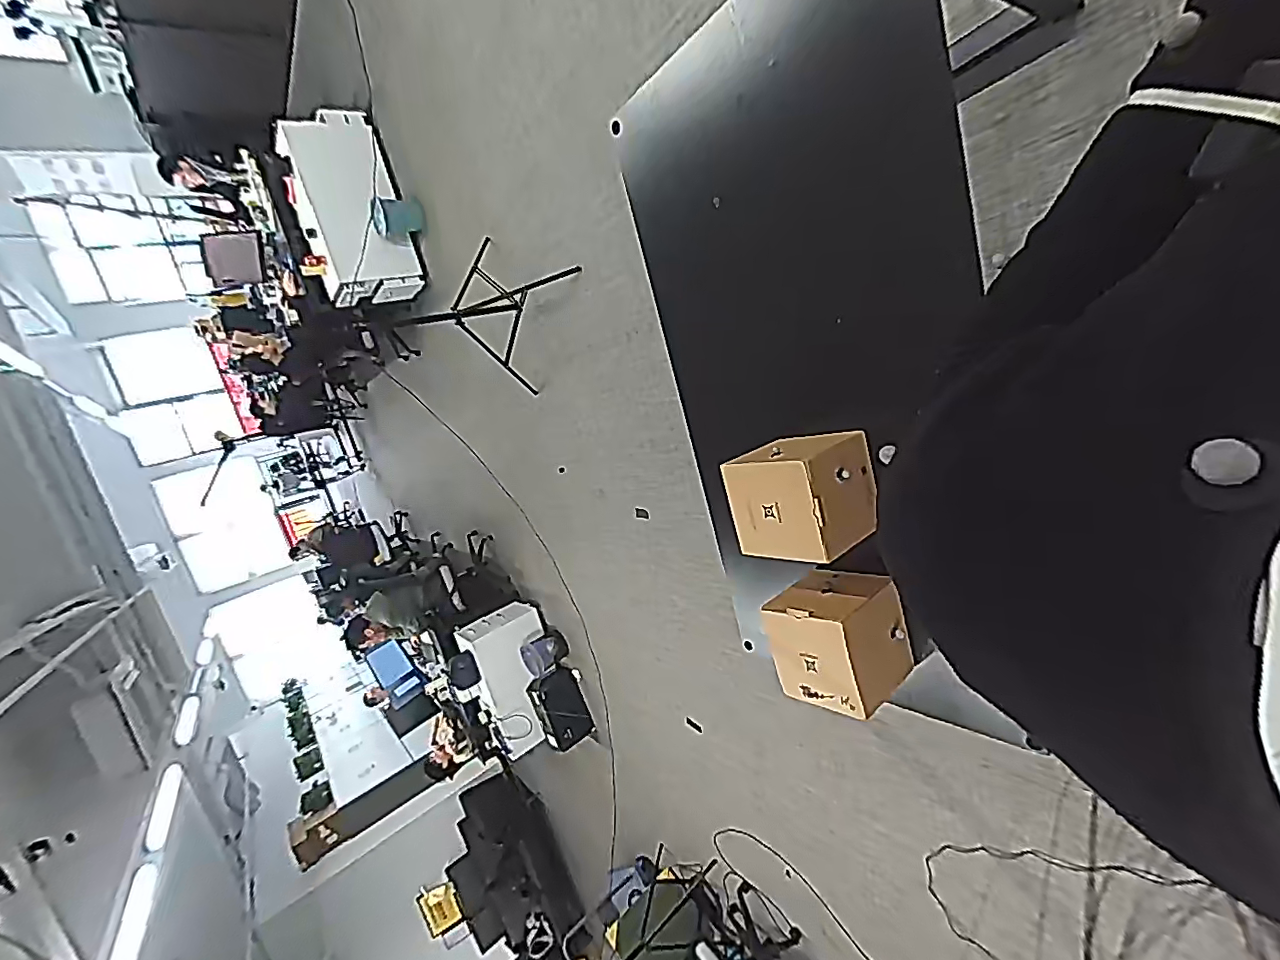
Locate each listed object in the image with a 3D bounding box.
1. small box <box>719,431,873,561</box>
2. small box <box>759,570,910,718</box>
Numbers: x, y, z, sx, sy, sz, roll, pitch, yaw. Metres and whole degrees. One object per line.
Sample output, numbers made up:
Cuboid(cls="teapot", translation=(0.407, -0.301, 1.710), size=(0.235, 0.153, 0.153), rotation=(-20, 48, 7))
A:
Cuboid(cls="small box", translation=(0.267, 0.022, 0.904), size=(0.179, 0.176, 0.168), rotation=(-2, 106, 54))
Cuboid(cls="small box", translation=(0.340, 0.271, 0.942), size=(0.168, 0.176, 0.179), rotation=(-5, 104, 54))
